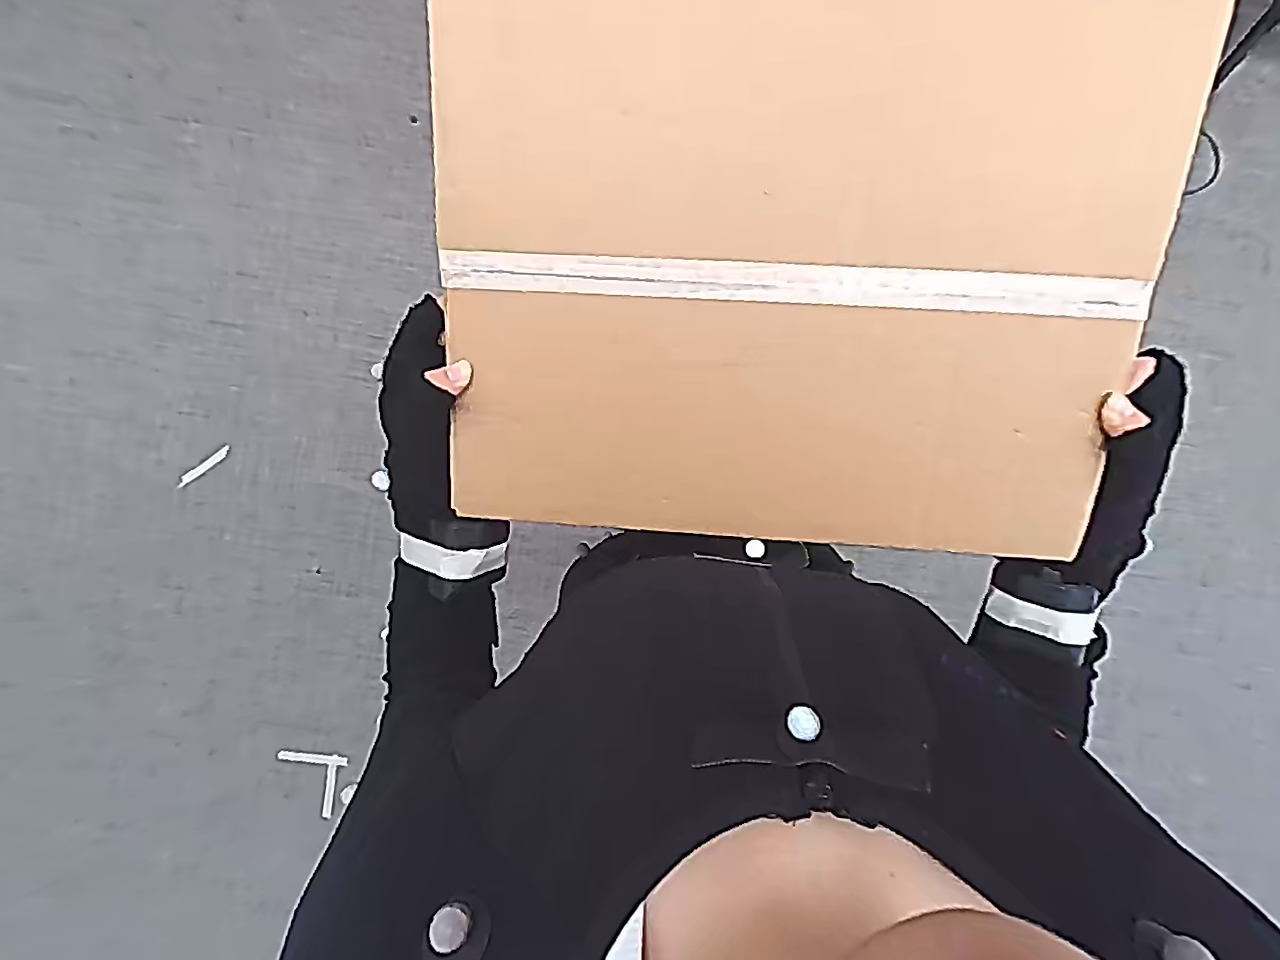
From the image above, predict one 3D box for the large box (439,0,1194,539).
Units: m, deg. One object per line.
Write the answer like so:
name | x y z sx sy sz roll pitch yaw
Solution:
large box | 0.088 -0.157 0.467 0.408 0.320 0.320 4 107 2
